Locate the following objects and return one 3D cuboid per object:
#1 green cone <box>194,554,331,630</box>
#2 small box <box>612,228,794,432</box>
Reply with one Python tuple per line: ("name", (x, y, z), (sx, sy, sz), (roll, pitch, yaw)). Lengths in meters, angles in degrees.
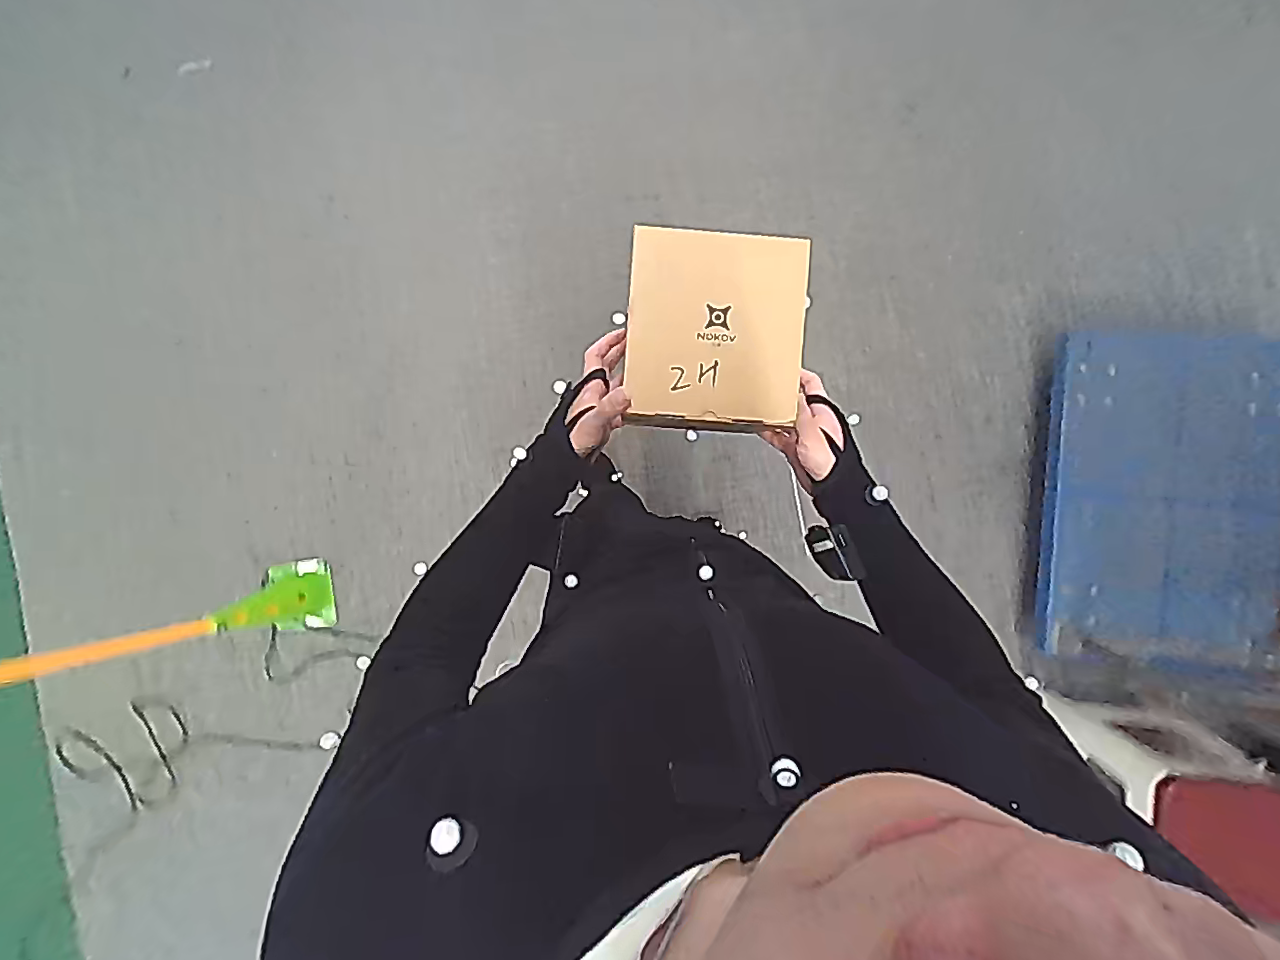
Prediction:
("green cone", (-1.084, 0.344, 1.519), (0.200, 0.368, 0.202), (-8, 91, 3))
("small box", (0.056, -0.148, 0.590), (0.168, 0.176, 0.179), (3, 93, -2))
